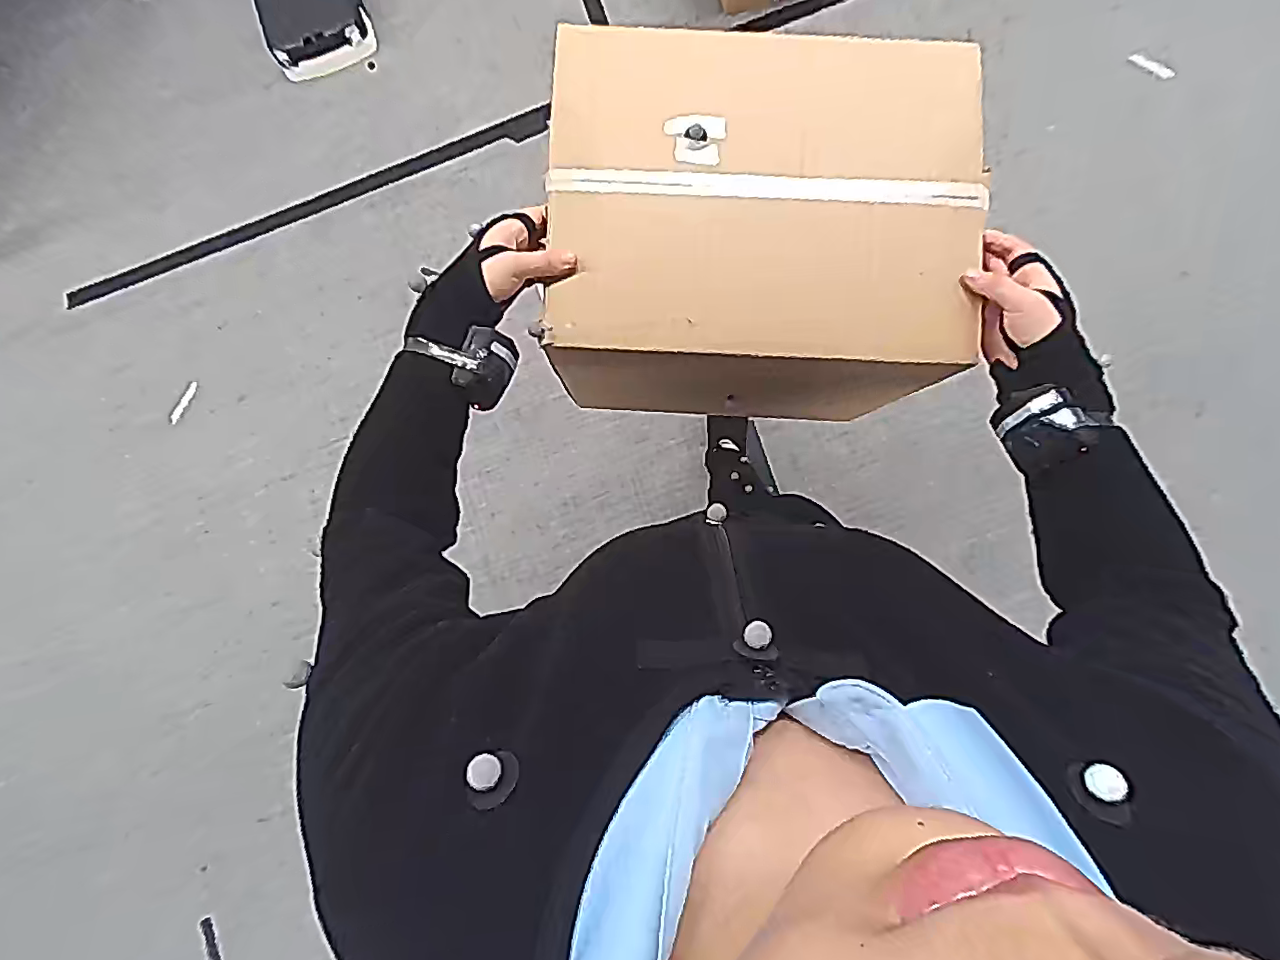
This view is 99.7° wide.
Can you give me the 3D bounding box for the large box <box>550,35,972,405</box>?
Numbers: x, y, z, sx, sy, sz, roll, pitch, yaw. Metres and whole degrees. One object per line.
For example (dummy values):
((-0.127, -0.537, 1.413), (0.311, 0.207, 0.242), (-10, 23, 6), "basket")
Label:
((0.121, -0.272, 0.666), (0.408, 0.320, 0.320), (2, 86, 1), "large box")
